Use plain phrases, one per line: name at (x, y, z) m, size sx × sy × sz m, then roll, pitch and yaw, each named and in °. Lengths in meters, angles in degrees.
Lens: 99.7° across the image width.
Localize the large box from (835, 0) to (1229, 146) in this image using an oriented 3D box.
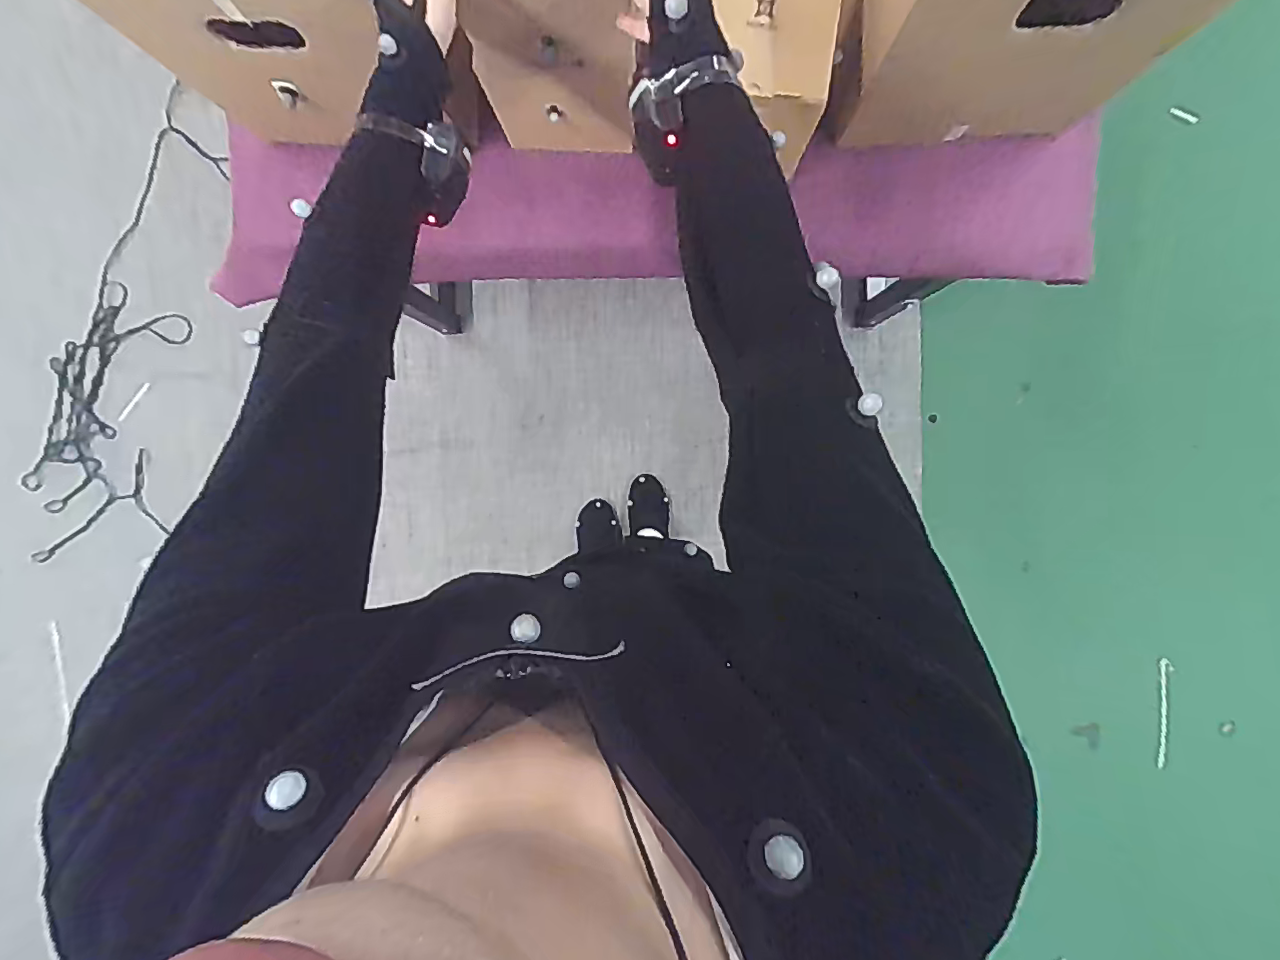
large box at (0.409, -0.654, 0.584) m, size 0.320 × 0.320 × 0.408 m, roll -2°, pitch 94°, yaw 4°

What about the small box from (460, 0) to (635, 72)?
small box at (-0.090, -0.522, 0.499) m, size 0.168 × 0.176 × 0.179 m, roll 0°, pitch 100°, yaw 2°
